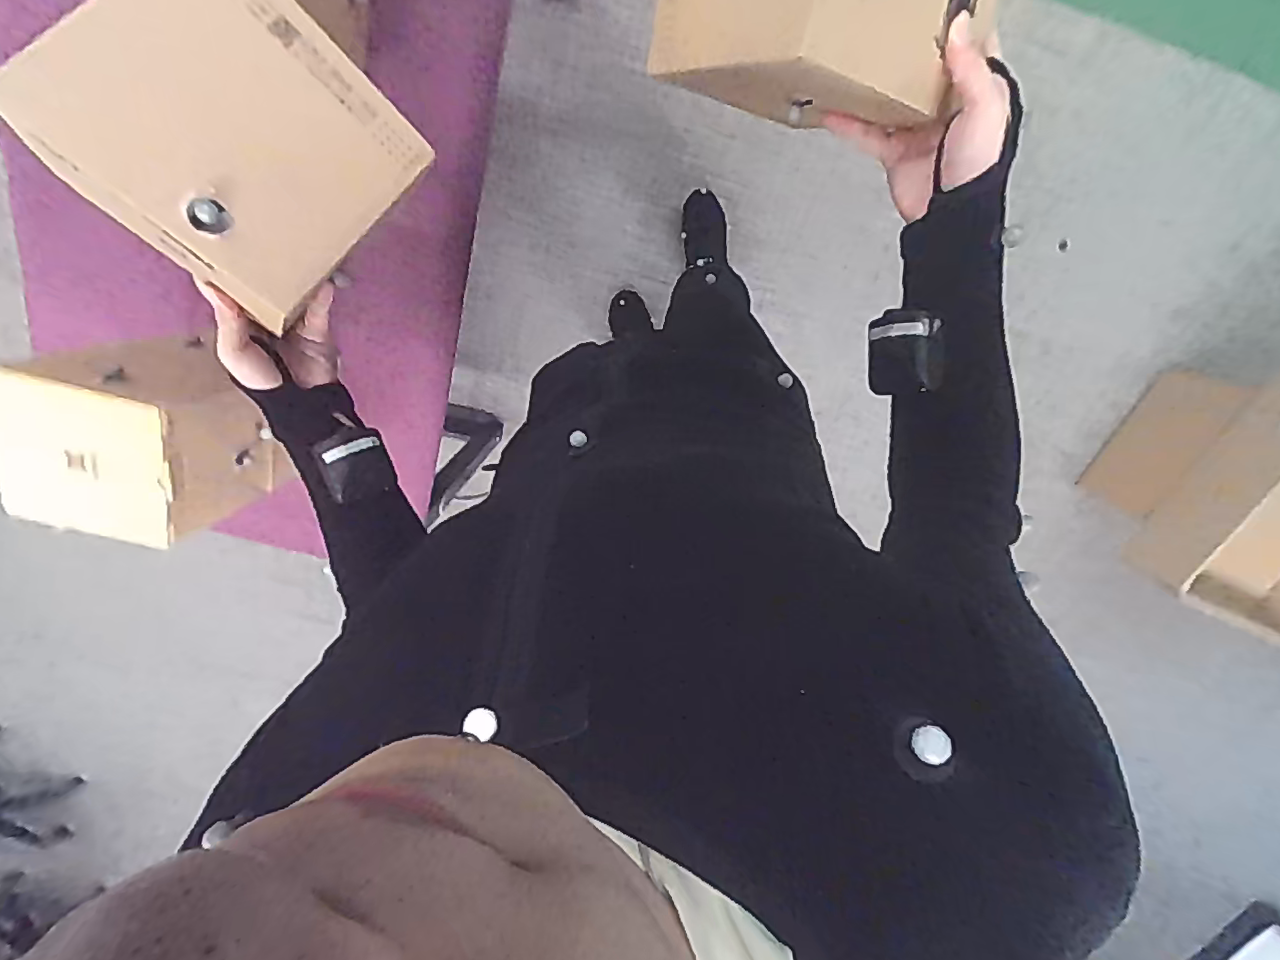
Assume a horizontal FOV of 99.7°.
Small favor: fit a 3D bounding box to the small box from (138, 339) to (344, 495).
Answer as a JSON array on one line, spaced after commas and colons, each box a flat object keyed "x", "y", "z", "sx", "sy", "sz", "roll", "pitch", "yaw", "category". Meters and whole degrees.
[{"x": -0.568, "y": -0.100, "z": 0.788, "sx": 0.179, "sy": 0.176, "sz": 0.168, "roll": 14, "pitch": 111, "yaw": -4, "category": "small box"}]

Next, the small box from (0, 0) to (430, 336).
[{"x": -0.291, "y": -0.235, "z": 0.415, "sx": 0.168, "sy": 0.179, "sz": 0.176, "roll": 43, "pitch": 74, "yaw": -31, "category": "small box"}]

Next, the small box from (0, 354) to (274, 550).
[{"x": -0.573, "y": -0.044, "z": 0.636, "sx": 0.179, "sy": 0.176, "sz": 0.168, "roll": 13, "pitch": 110, "yaw": -5, "category": "small box"}]

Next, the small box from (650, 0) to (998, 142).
[{"x": 0.134, "y": -0.358, "z": 0.386, "sx": 0.179, "sy": 0.176, "sz": 0.168, "roll": -6, "pitch": 120, "yaw": -32, "category": "small box"}]
